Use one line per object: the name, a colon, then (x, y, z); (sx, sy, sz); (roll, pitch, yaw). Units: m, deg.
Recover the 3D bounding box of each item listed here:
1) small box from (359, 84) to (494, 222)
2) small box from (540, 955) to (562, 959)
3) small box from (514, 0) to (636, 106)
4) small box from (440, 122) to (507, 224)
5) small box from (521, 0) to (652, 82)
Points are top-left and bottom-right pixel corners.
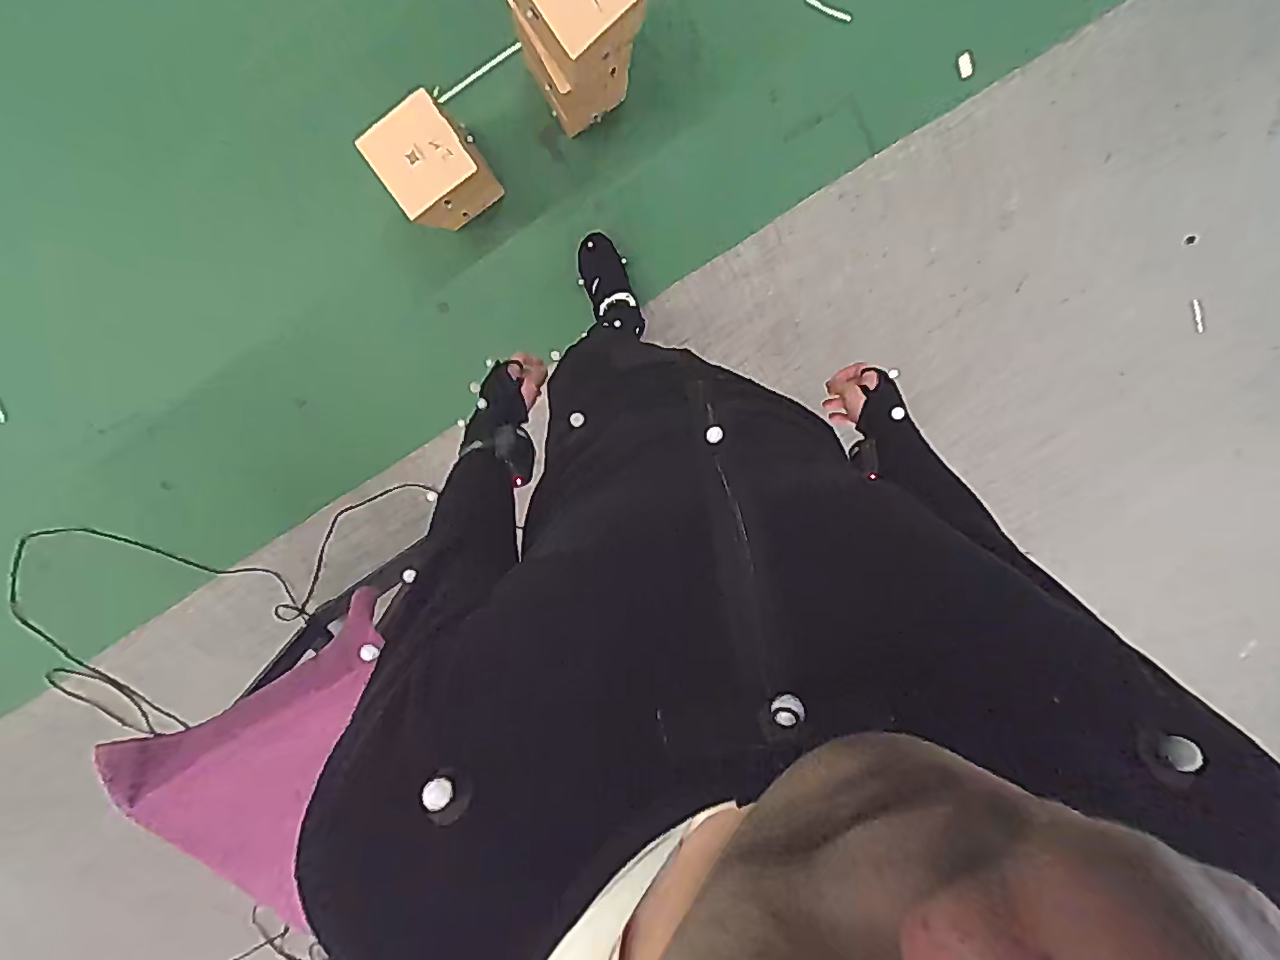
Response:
small box: (-0.430, -0.663, 1.123); (0.179, 0.176, 0.168); (-32, 109, 8)
small box: (-0.229, 1.269, 1.263); (0.179, 0.176, 0.168); (-33, 108, 8)
small box: (-0.123, -0.874, 1.062); (0.168, 0.176, 0.179); (-32, 110, 7)
small box: (-0.438, -0.726, 1.275); (0.168, 0.176, 0.179); (-32, 108, 9)
small box: (-0.098, -0.824, 0.908); (0.168, 0.176, 0.179); (-37, 111, 9)
